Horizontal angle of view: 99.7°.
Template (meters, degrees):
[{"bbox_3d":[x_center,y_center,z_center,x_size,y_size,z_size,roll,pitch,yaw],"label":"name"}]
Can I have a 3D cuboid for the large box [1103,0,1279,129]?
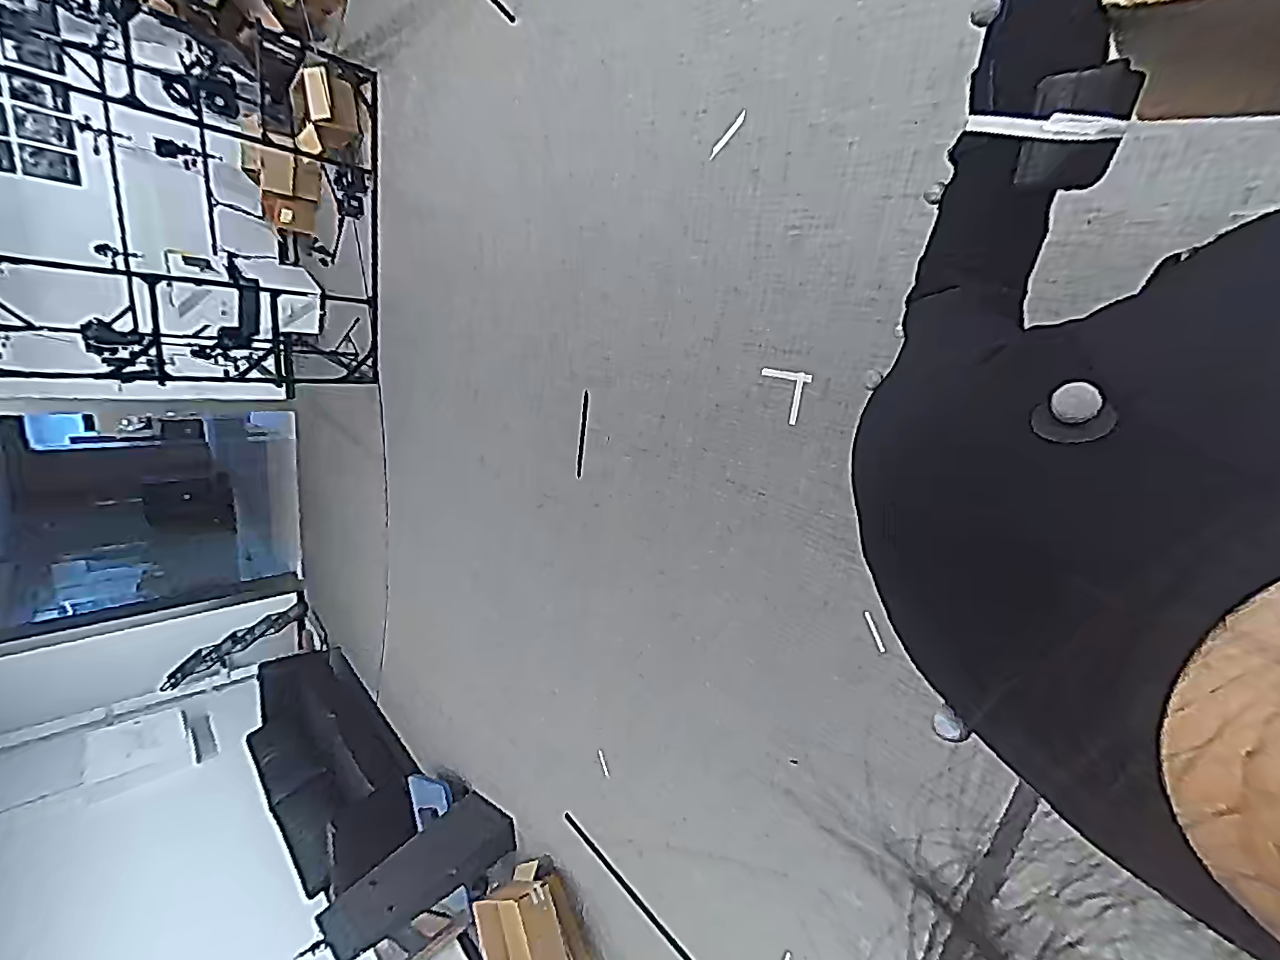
[{"bbox_3d":[0.517,-0.374,0.235,0.408,0.320,0.320,24,122,37],"label":"large box"}]
